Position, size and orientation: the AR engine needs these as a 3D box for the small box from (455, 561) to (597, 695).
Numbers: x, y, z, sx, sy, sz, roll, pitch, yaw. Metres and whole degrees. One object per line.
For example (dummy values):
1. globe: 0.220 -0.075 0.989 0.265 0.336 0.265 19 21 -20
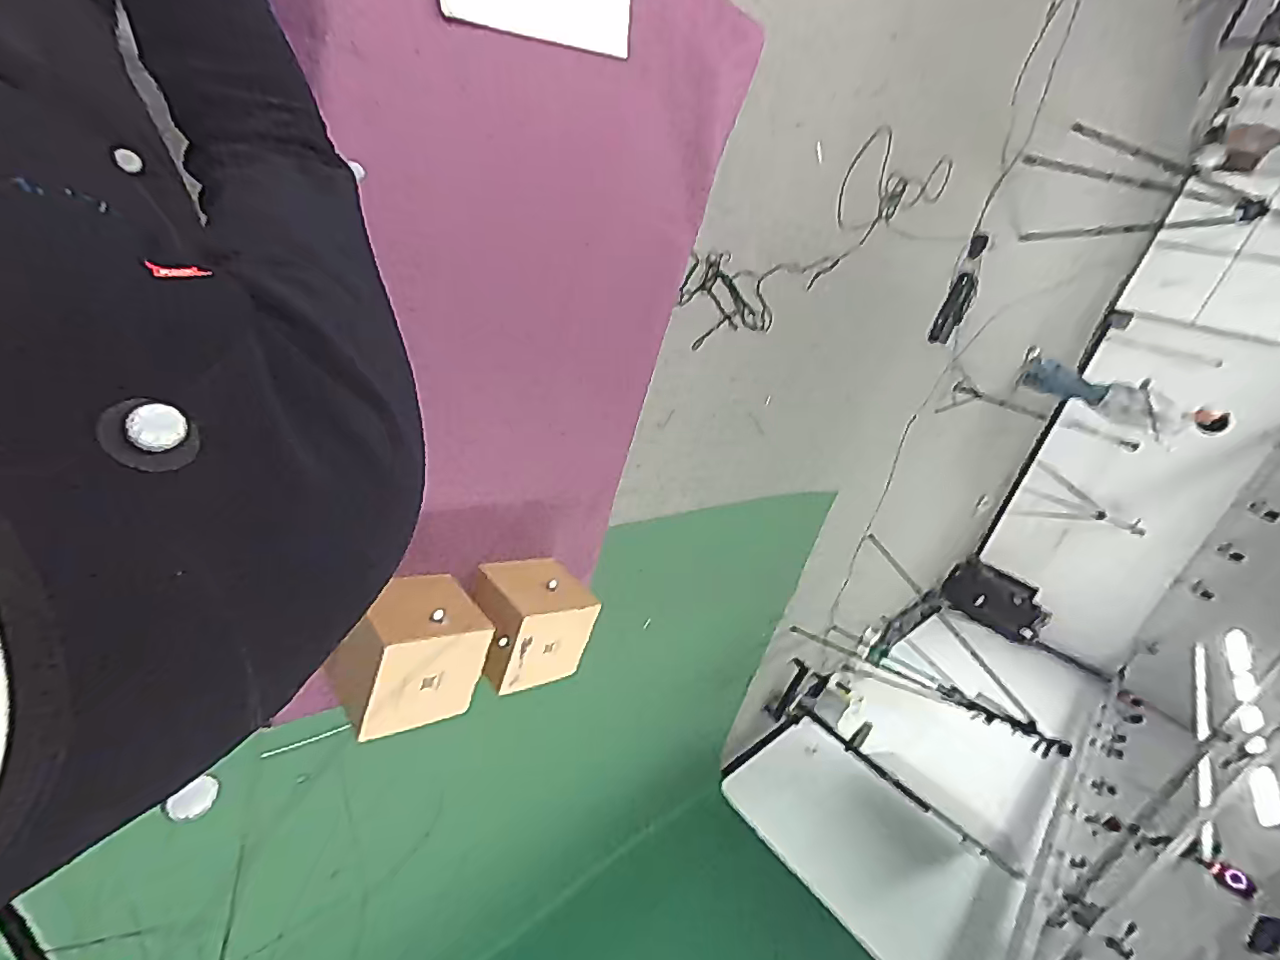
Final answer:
1. small box: -0.218 0.266 1.024 0.179 0.176 0.168 3 113 -49
